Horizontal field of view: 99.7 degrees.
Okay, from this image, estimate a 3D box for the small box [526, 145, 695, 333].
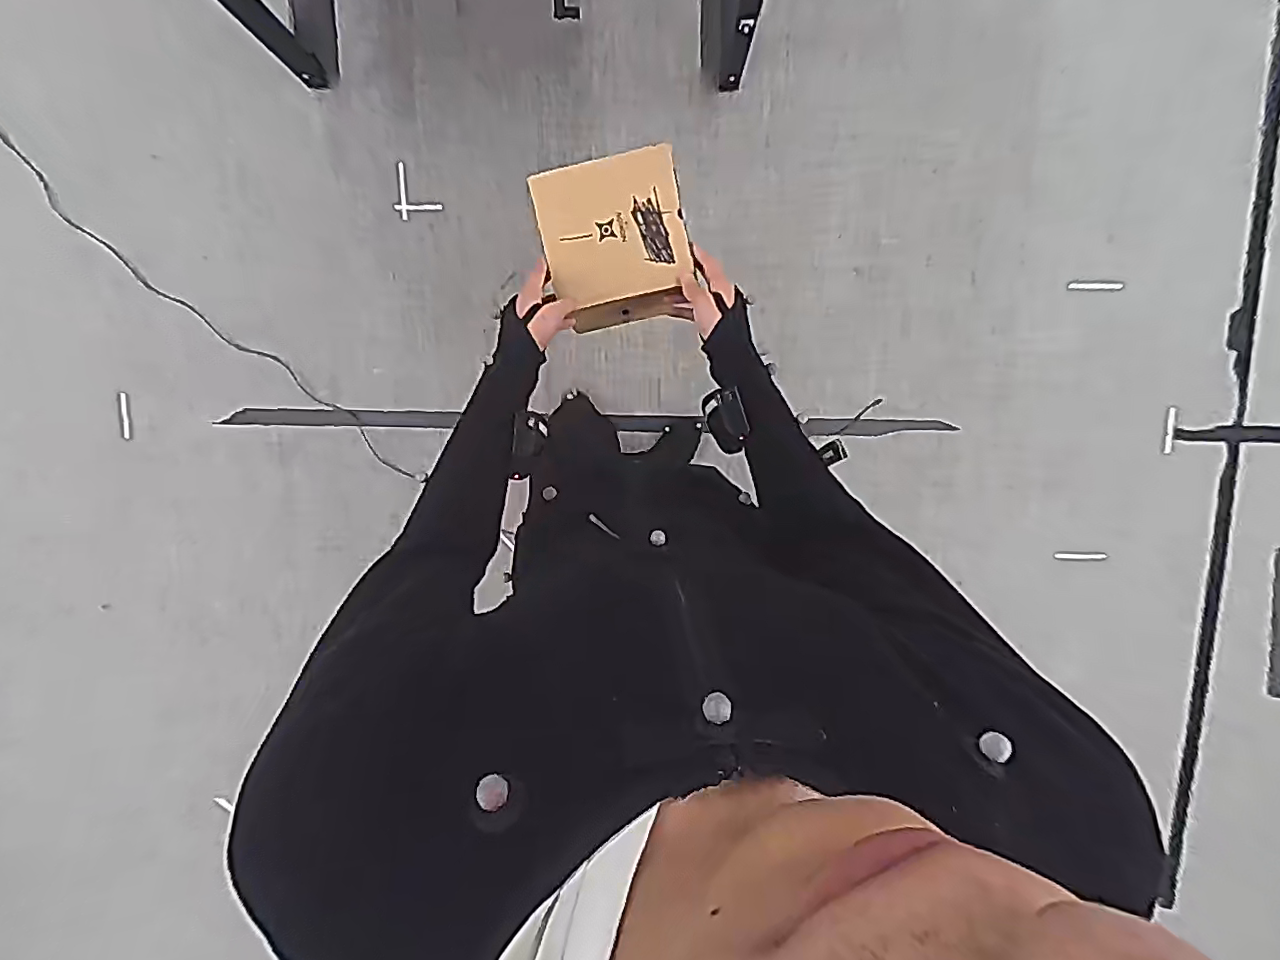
[{"bbox_3d":[-0.033,-0.304,0.718,0.179,0.176,0.168,-12,96,3],"label":"small box"}]
